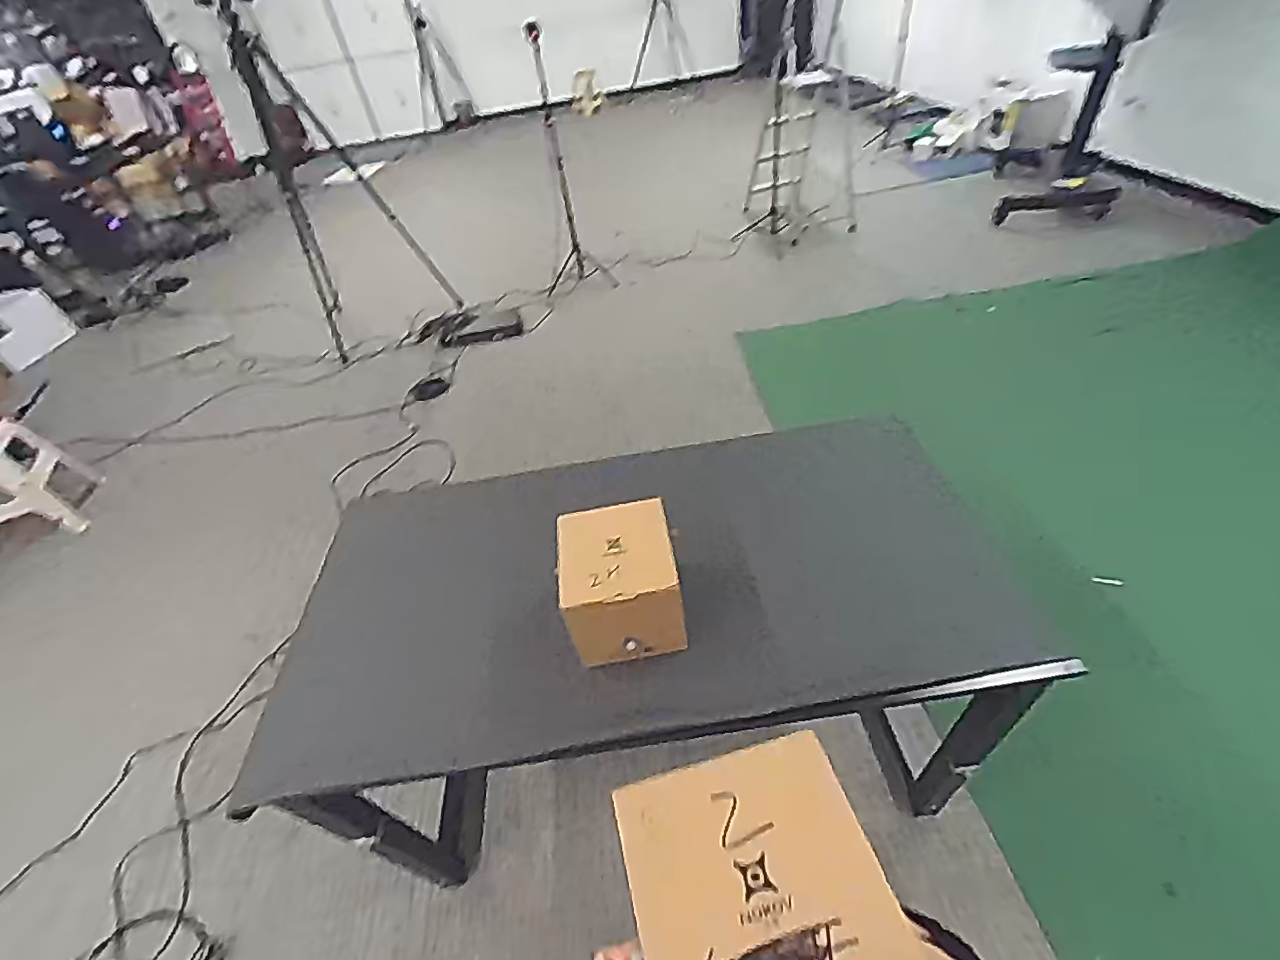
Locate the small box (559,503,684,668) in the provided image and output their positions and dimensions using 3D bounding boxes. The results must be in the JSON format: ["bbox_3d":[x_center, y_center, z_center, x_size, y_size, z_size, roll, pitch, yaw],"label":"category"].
[{"bbox_3d":[-0.029,0.165,0.844,0.168,0.176,0.179,-10,43,0],"label":"small box"}]
